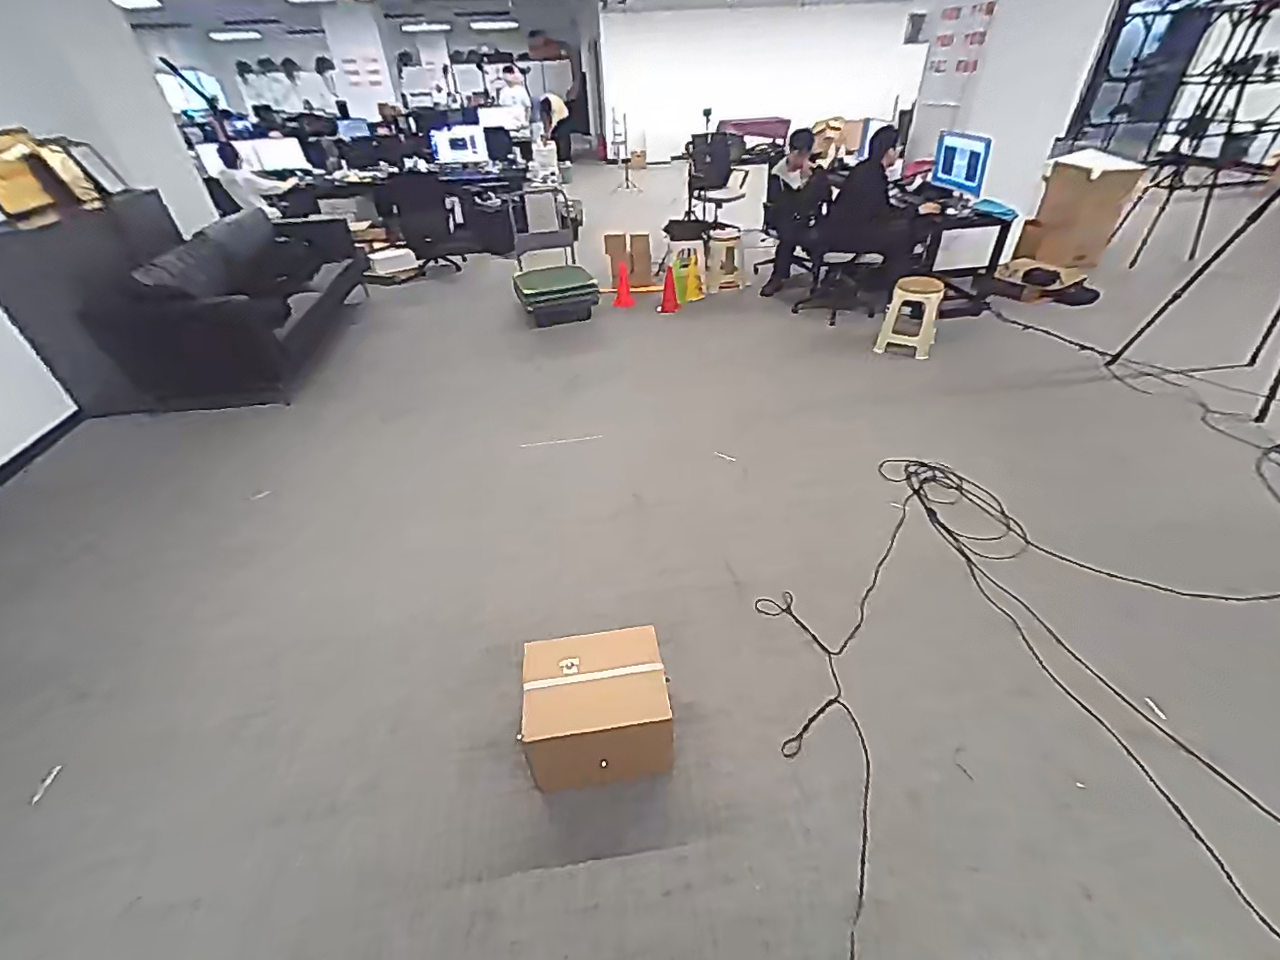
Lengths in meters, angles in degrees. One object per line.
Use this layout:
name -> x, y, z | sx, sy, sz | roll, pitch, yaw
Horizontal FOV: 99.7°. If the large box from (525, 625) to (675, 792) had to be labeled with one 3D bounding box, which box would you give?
large box -> -0.122, 0.691, 1.642 | 0.408, 0.320, 0.320 | -8, 37, -5
